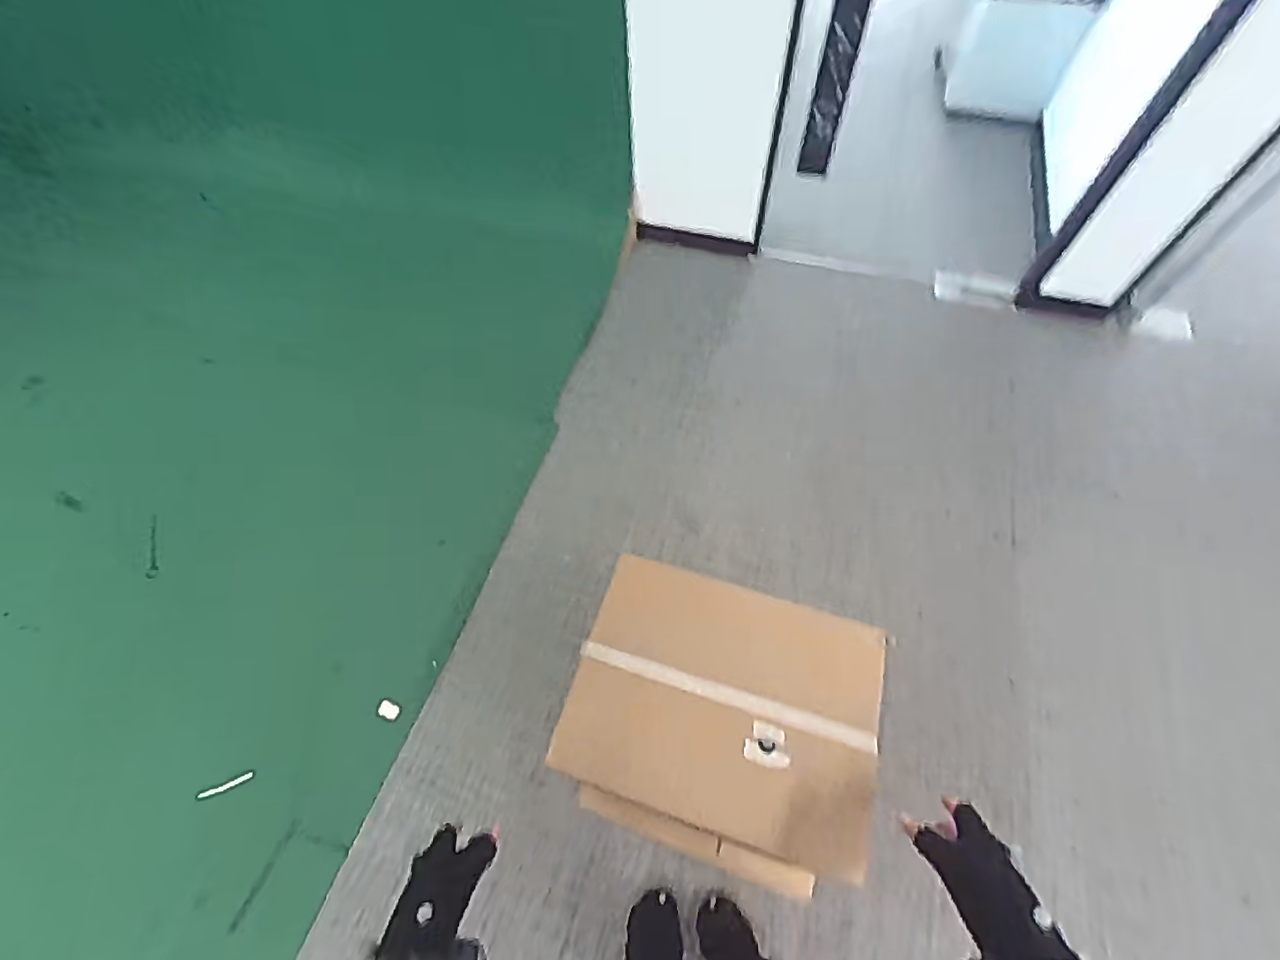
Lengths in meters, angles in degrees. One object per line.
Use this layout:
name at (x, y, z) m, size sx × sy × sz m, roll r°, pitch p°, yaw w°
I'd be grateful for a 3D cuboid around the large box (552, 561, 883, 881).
large box at (0.116, 0.379, 0.862) m, size 0.408 × 0.320 × 0.320 m, roll 16°, pitch 58°, yaw 10°
